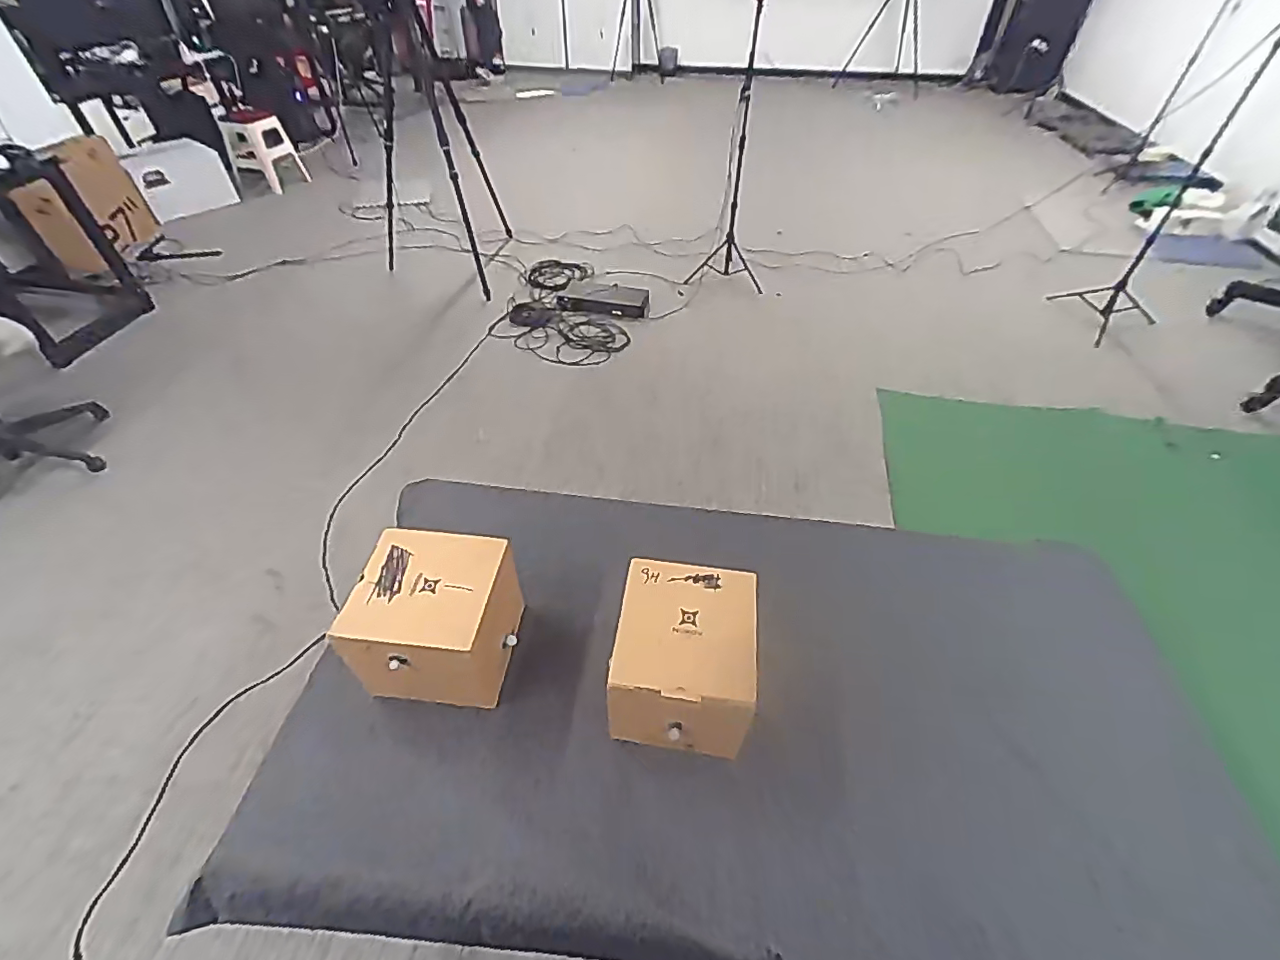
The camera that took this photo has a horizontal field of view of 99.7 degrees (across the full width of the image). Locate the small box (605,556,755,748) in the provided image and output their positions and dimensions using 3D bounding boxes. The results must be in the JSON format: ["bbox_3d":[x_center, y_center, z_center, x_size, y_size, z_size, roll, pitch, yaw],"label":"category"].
[{"bbox_3d":[0.055,0.226,0.705,0.168,0.176,0.179,7,47,6],"label":"small box"}]

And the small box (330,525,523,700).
[{"bbox_3d":[-0.272,0.183,0.740,0.179,0.176,0.168,6,46,3],"label":"small box"}]
